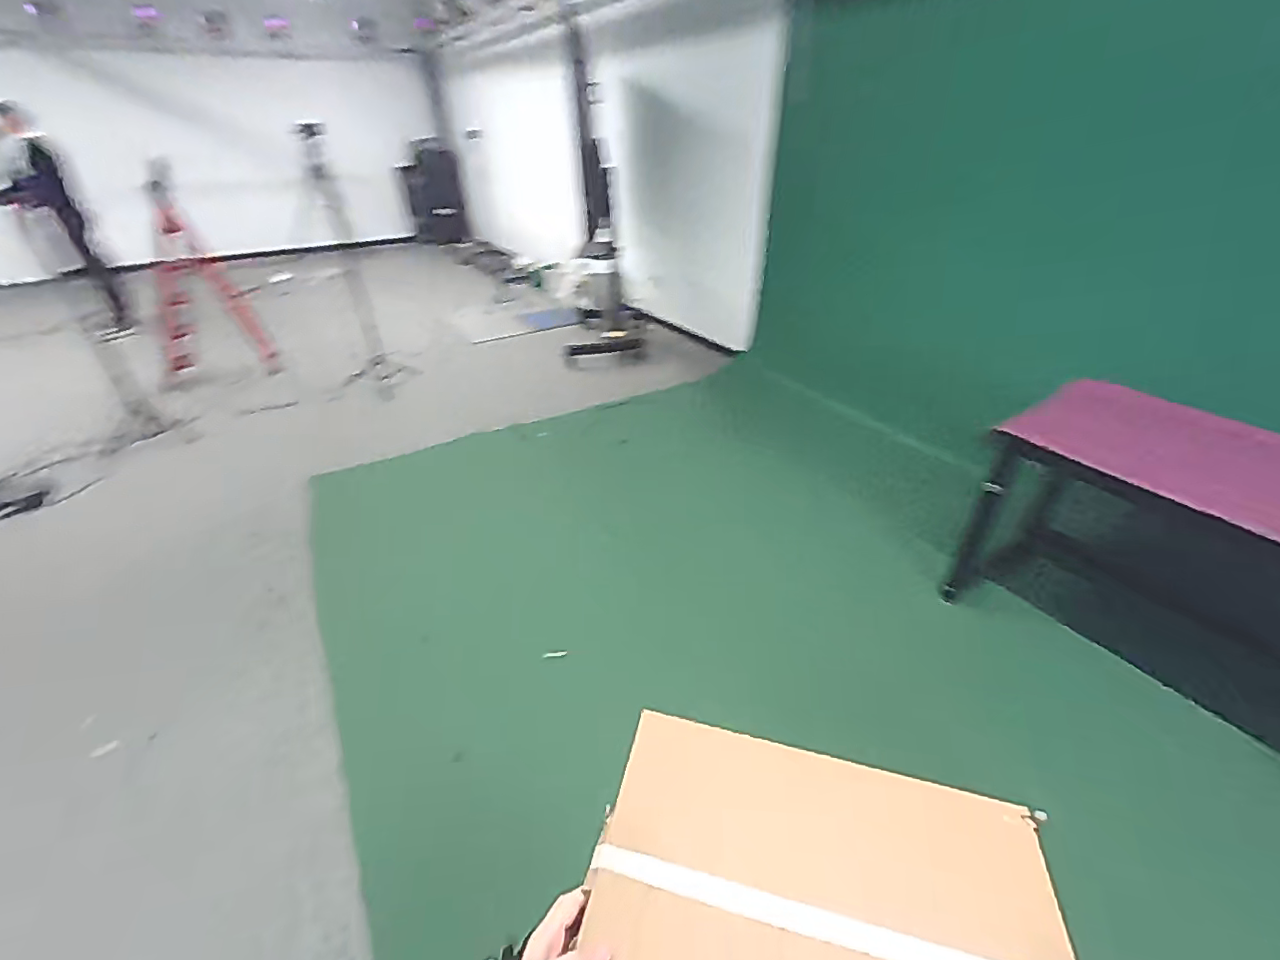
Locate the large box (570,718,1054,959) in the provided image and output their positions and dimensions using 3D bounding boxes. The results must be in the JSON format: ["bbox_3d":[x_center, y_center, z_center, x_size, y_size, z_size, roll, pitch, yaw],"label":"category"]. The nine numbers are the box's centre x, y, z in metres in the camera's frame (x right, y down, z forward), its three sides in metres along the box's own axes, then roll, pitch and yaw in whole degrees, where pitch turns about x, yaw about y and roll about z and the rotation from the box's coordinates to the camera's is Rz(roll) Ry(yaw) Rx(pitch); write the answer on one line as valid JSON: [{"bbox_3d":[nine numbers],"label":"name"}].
[{"bbox_3d":[0.143,0.509,0.554,0.408,0.320,0.320,10,35,10],"label":"large box"}]
